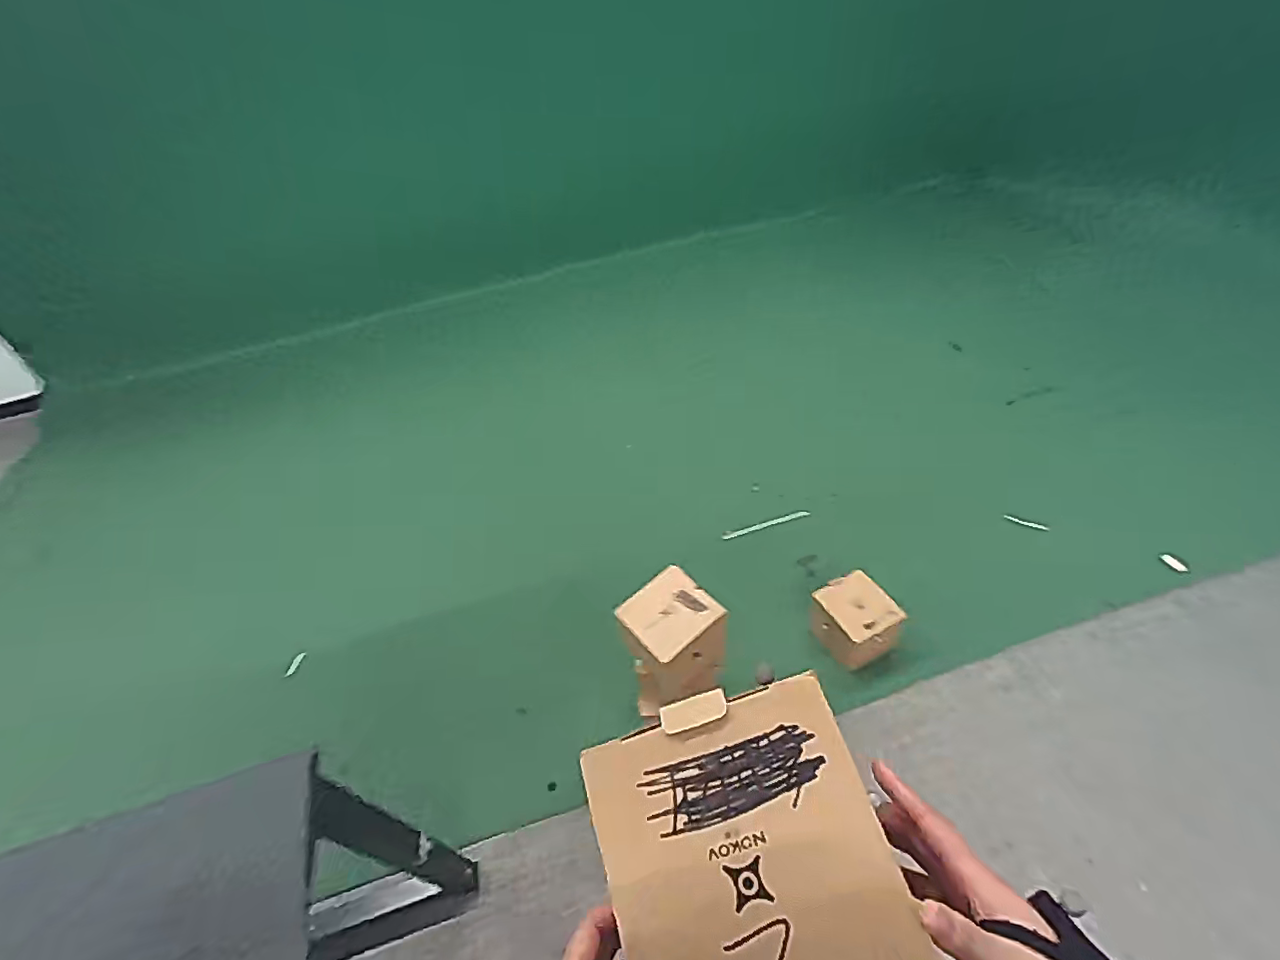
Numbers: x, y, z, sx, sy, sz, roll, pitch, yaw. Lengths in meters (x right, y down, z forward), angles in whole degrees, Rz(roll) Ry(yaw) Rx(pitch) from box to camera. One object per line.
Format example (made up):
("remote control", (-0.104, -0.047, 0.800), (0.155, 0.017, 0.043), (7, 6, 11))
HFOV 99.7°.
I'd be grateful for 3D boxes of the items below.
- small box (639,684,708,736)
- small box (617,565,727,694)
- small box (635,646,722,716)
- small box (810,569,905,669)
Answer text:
("small box", (0.090, 0.559, 1.421), (0.168, 0.176, 0.179), (-4, 45, 5))
("small box", (0.072, 0.329, 1.189), (0.179, 0.176, 0.168), (-35, 51, -21))
("small box", (0.101, 0.441, 1.306), (0.168, 0.176, 0.179), (11, 48, 18))
("small box", (0.592, 0.387, 1.500), (0.168, 0.176, 0.179), (-23, 46, -13))
